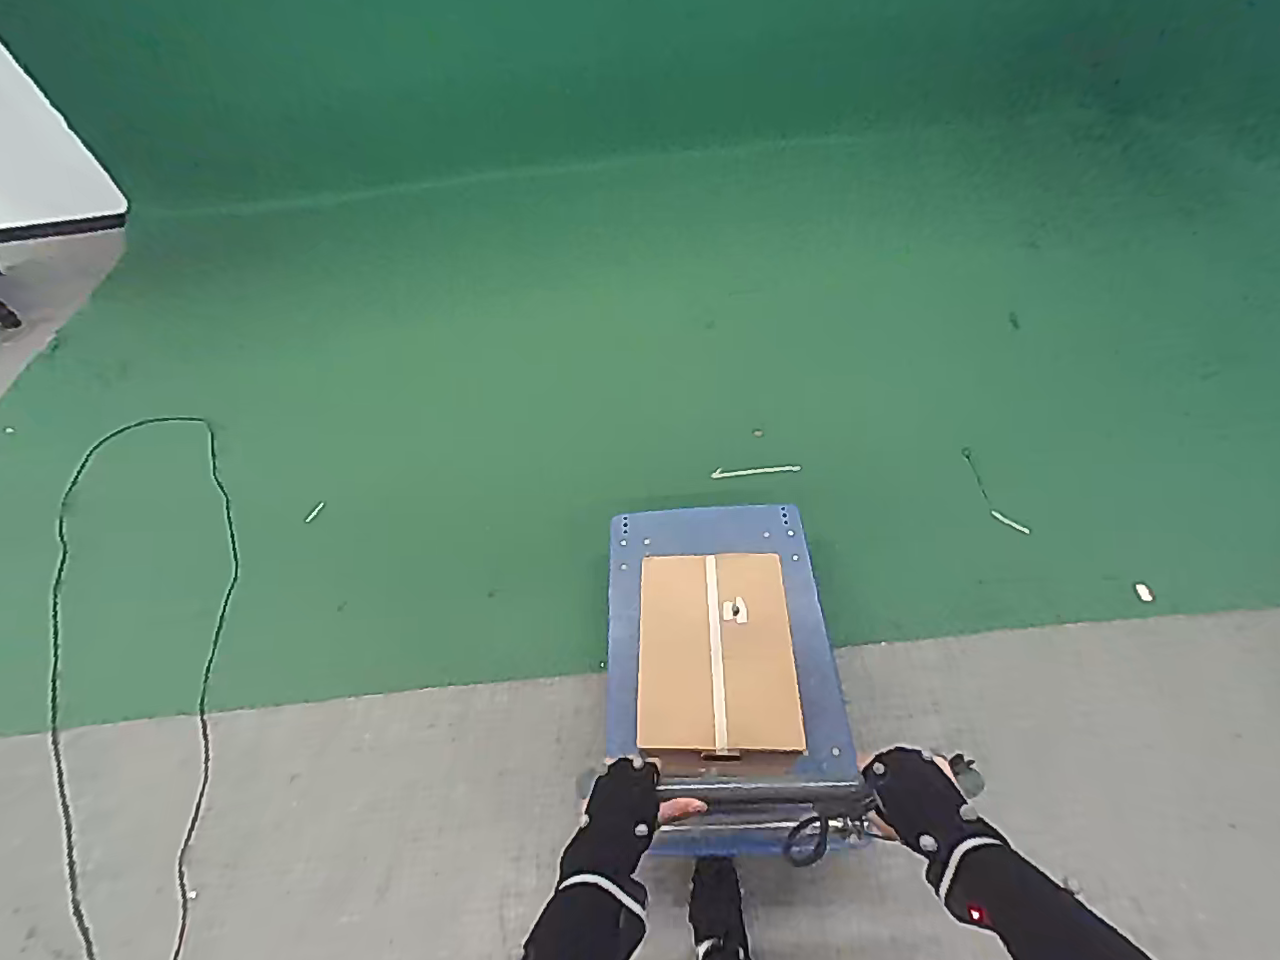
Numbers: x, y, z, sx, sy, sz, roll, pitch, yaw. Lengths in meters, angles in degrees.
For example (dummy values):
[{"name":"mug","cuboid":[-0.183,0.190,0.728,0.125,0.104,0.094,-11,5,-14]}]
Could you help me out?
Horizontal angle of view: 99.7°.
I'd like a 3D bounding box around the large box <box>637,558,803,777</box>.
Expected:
[{"name":"large box","cuboid":[0.166,0.431,1.236,0.320,0.320,0.408,-1,53,5]}]
